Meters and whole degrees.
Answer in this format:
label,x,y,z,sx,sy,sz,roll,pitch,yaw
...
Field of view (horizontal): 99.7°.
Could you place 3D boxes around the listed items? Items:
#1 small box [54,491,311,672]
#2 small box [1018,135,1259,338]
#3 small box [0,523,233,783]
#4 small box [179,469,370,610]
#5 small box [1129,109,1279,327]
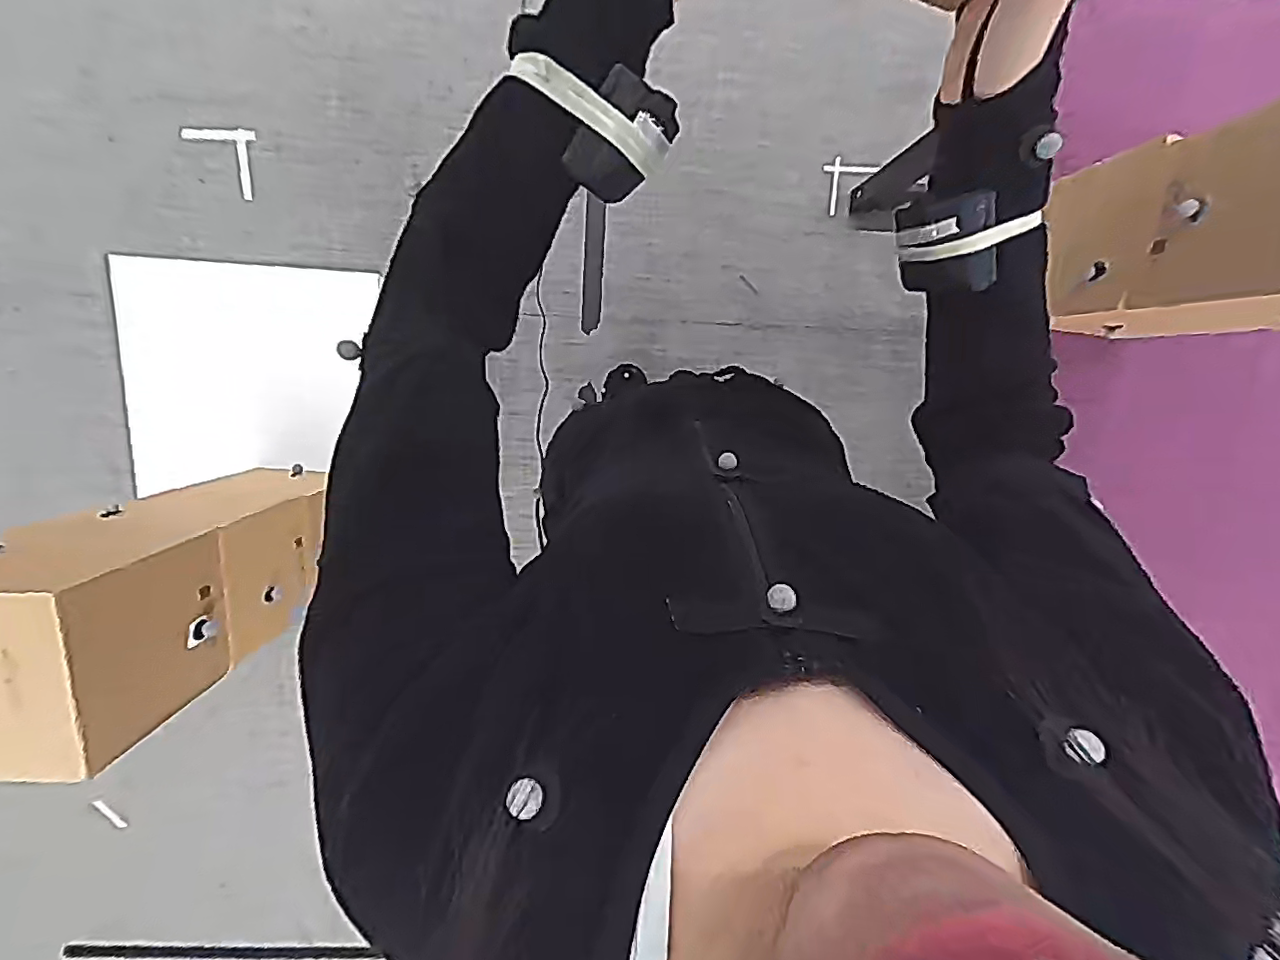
label,x,y,z,sx,sy,sz,roll,pitch,yaw
small box,-0.524,0.111,0.650,0.179,0.176,0.168,2,101,-2
small box,0.594,-0.268,0.639,0.168,0.176,0.179,6,101,-4
small box,-0.521,0.141,0.490,0.179,0.176,0.168,2,102,-3
small box,-0.531,0.080,0.810,0.179,0.176,0.168,4,101,-2
small box,0.609,-0.232,0.479,0.179,0.176,0.168,6,101,-2
